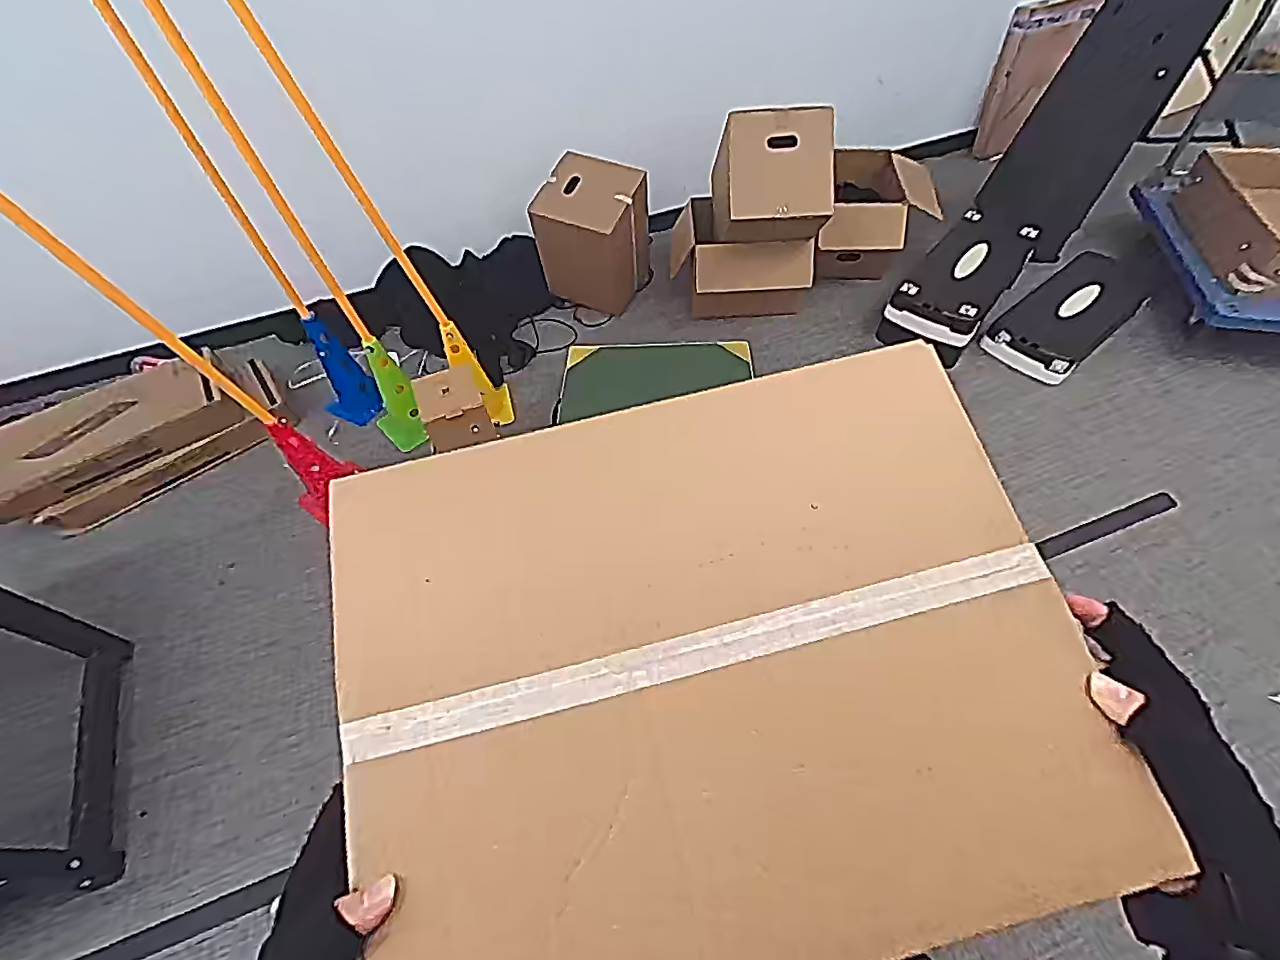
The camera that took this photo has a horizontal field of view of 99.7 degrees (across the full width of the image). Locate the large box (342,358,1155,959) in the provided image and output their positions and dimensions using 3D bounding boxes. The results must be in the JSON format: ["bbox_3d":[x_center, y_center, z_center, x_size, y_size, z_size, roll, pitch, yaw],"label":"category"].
[{"bbox_3d":[0.043,0.152,0.452,0.408,0.320,0.320,-15,70,-2],"label":"large box"}]
